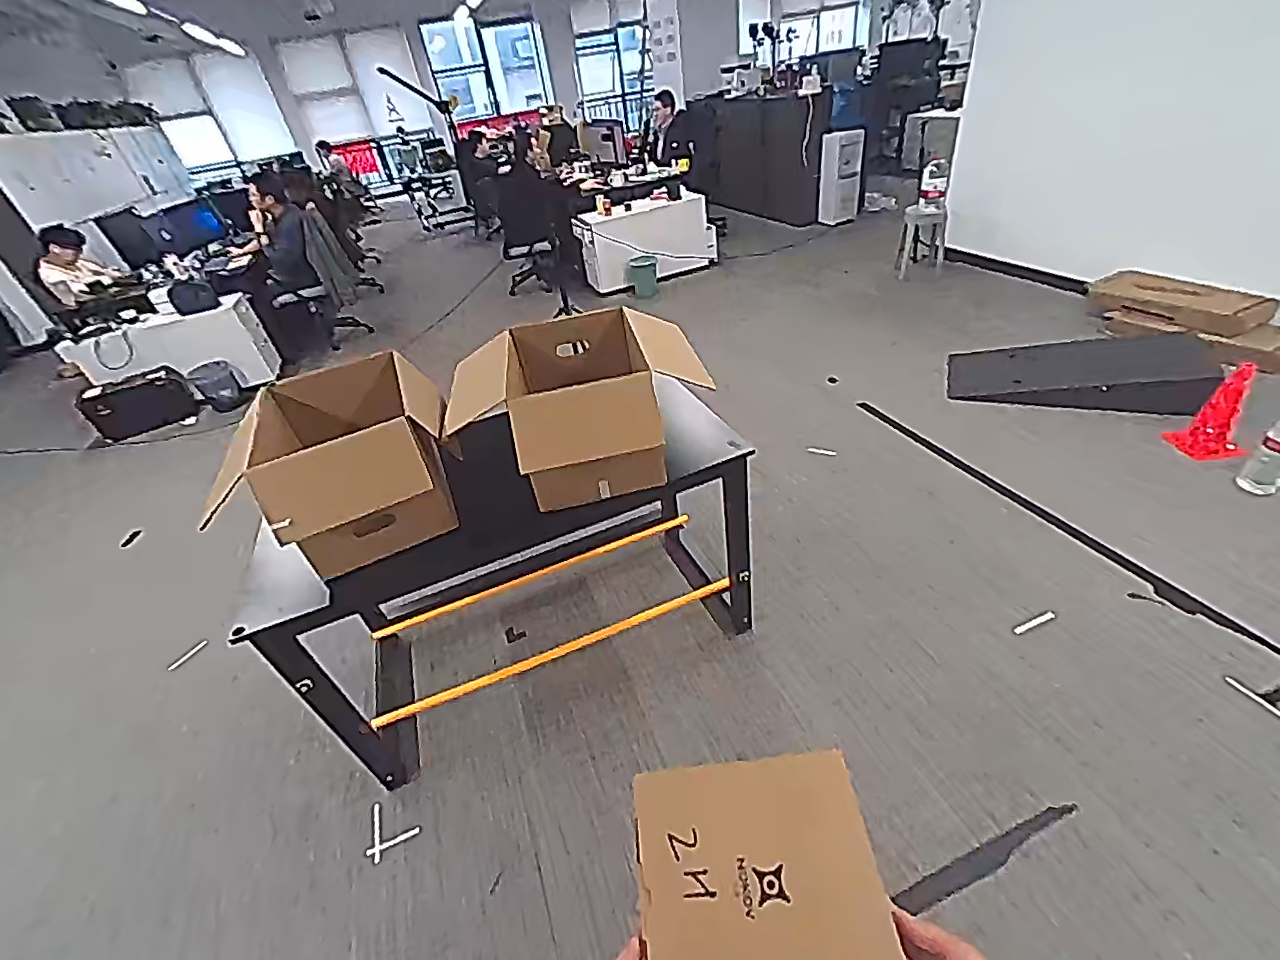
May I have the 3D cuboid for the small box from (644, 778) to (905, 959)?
[{"bbox_3d":[0.101,0.368,0.456,0.179,0.176,0.168,-7,48,1],"label":"small box"}]
